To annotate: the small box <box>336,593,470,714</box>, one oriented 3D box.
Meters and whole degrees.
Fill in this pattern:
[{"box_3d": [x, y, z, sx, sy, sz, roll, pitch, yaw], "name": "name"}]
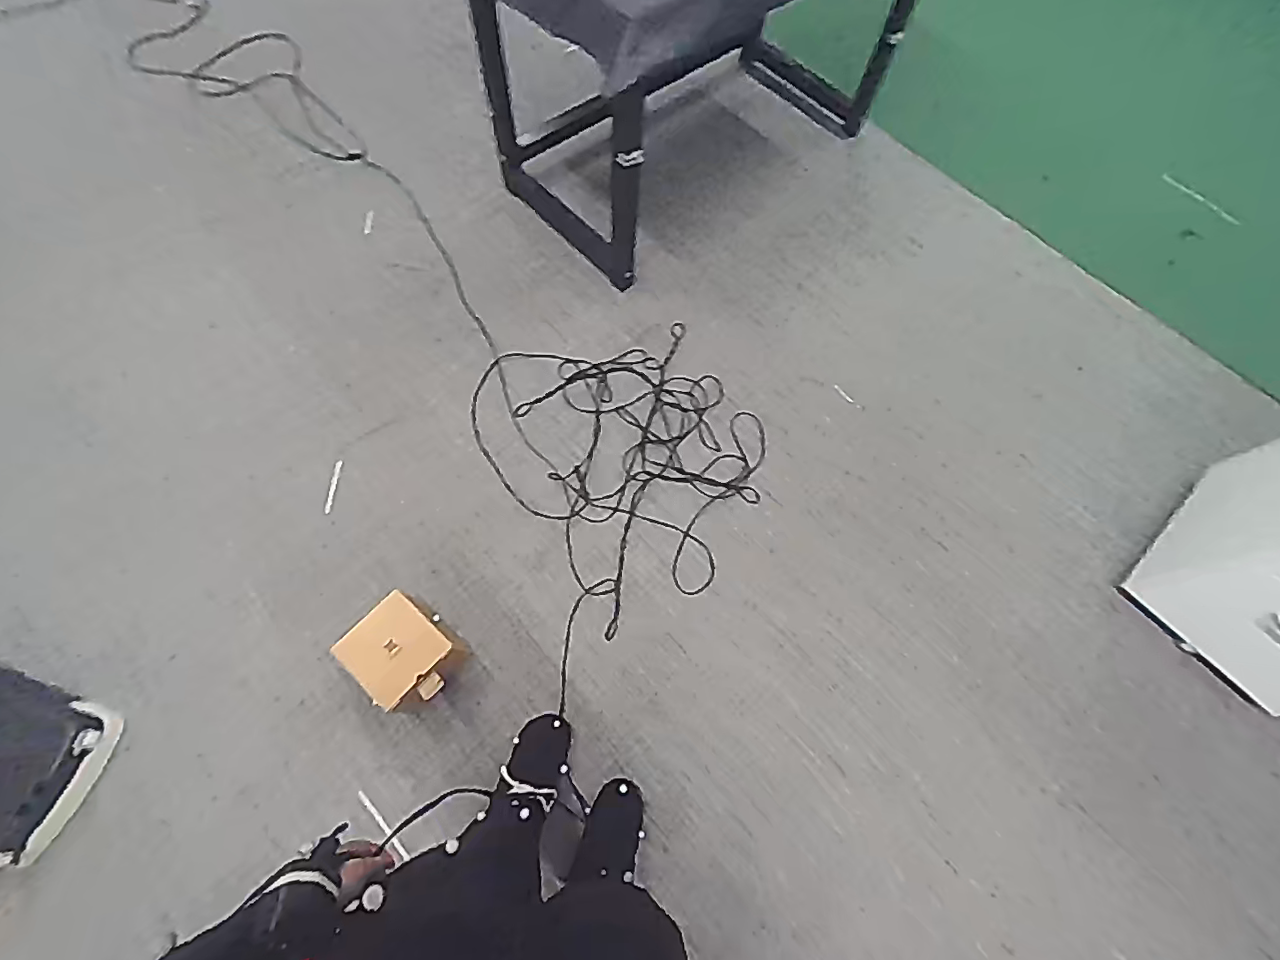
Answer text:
[{"box_3d": [-0.485, 0.369, 1.133, 0.179, 0.176, 0.168, 41, 69, 11], "name": "small box"}]
